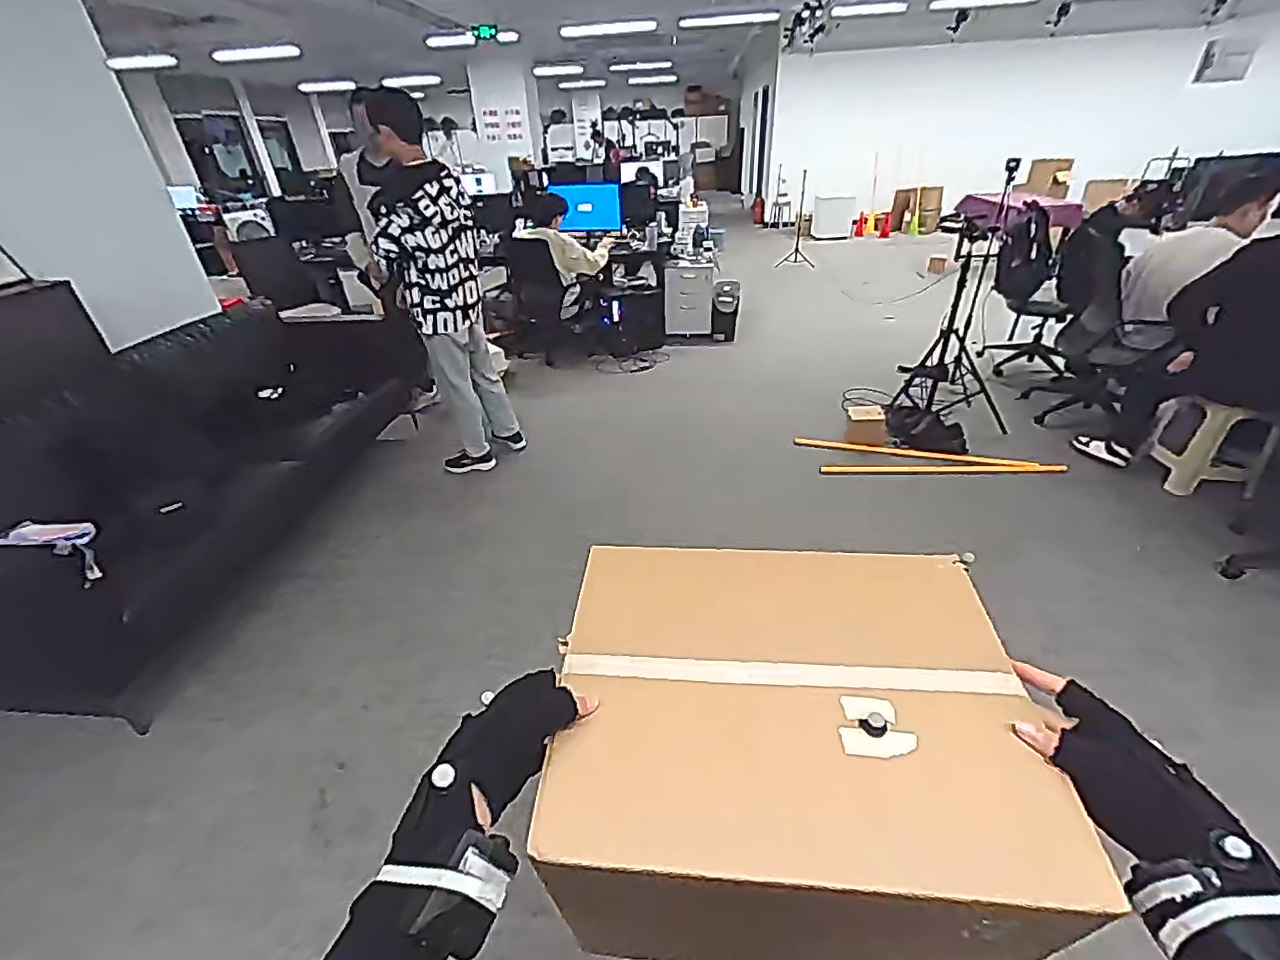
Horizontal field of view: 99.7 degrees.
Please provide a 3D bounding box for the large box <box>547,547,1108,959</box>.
[{"bbox_3d":[0.141,0.291,0.592,0.408,0.320,0.320,1,40,5],"label":"large box"}]
